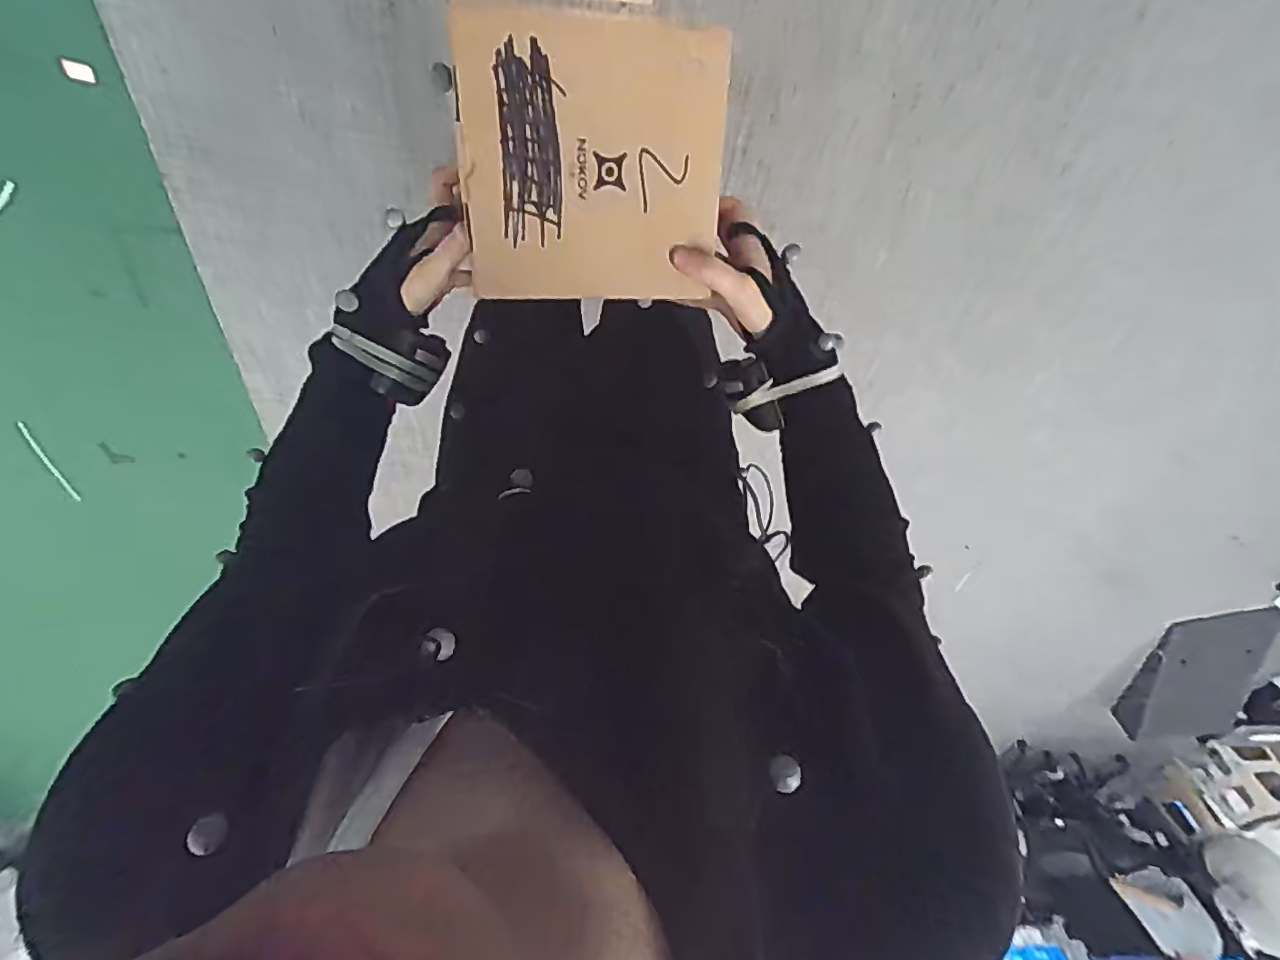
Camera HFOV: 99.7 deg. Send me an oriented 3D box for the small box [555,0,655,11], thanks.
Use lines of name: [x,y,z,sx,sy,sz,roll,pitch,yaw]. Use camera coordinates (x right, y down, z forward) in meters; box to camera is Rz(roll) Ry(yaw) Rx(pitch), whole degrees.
small box: [-0.062,-0.863,0.853,0.179,0.176,0.168,1,133,-5]
